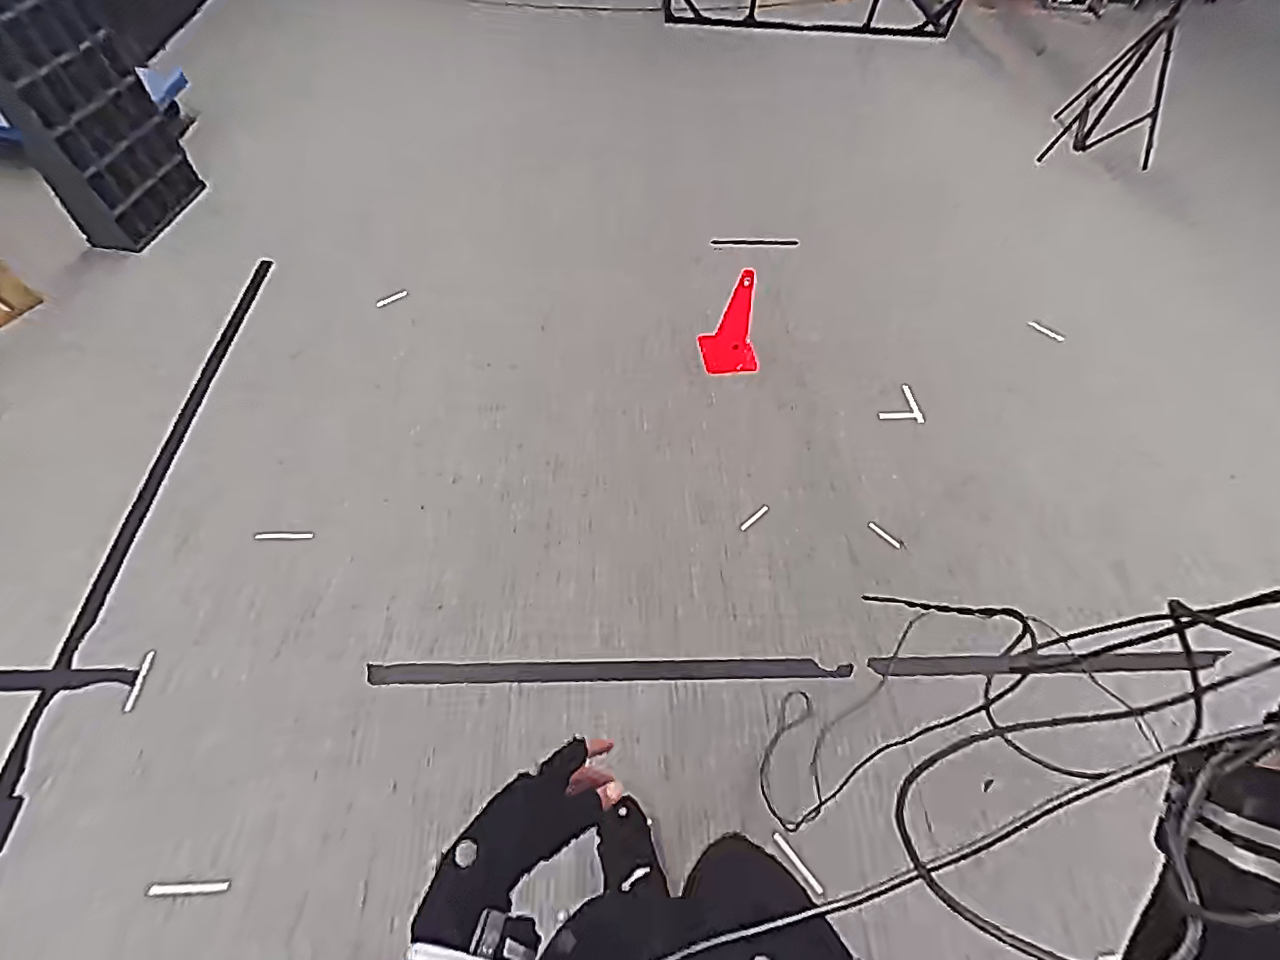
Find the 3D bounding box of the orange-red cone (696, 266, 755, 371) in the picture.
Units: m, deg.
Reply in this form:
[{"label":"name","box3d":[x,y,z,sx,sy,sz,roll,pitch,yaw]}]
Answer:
[{"label":"orange-red cone","box3d":[0.321,-0.572,1.859,0.199,0.360,0.198,-5,57,-5]}]
